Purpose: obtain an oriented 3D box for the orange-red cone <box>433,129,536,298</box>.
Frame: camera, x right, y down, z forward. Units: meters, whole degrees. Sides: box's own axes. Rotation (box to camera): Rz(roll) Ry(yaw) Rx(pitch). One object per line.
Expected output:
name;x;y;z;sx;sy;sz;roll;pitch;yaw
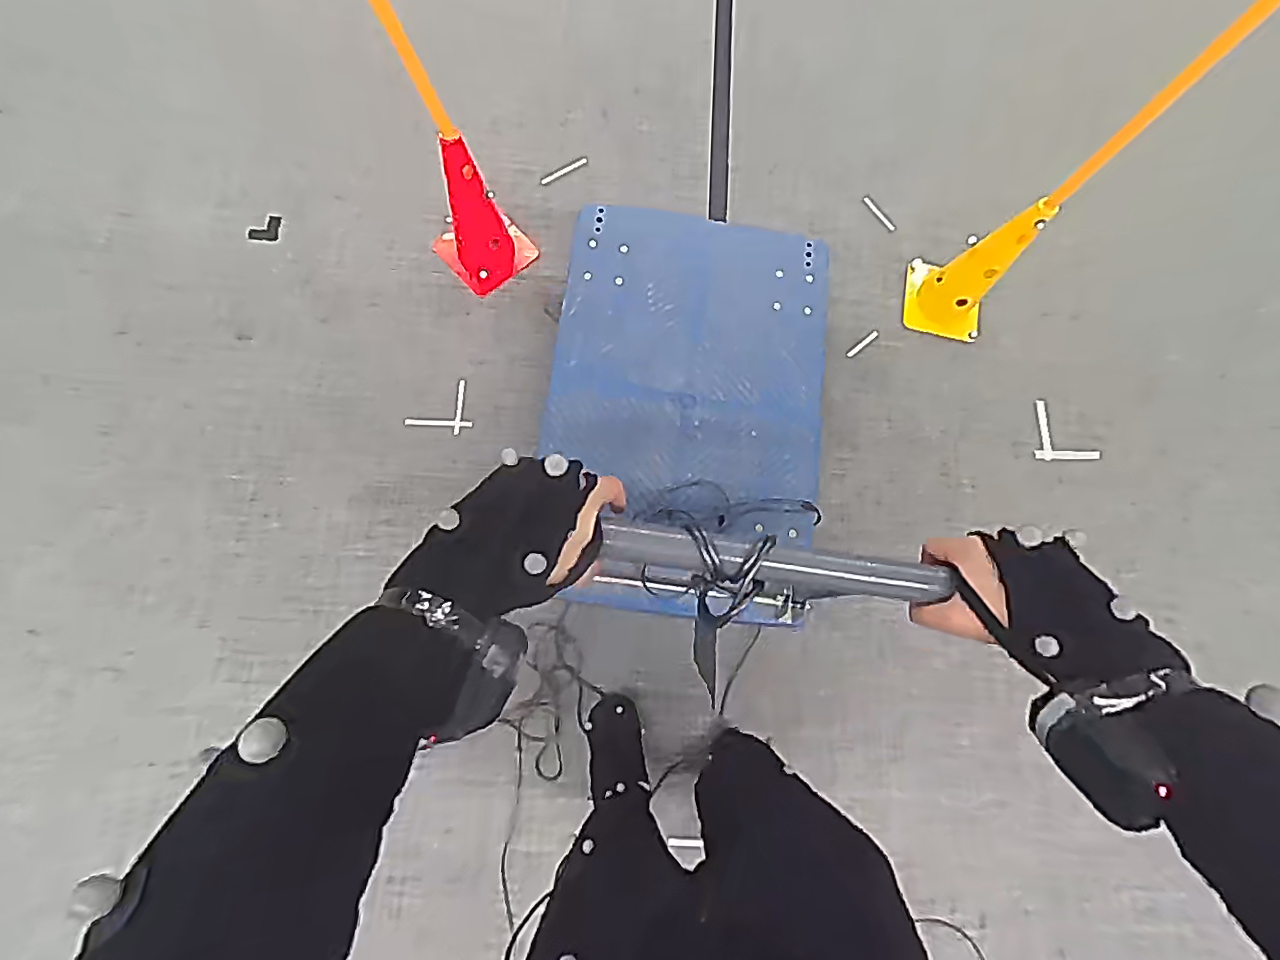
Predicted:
orange-red cone;-0.372;-0.608;1.187;0.199;0.360;0.198;-41;84;-13
